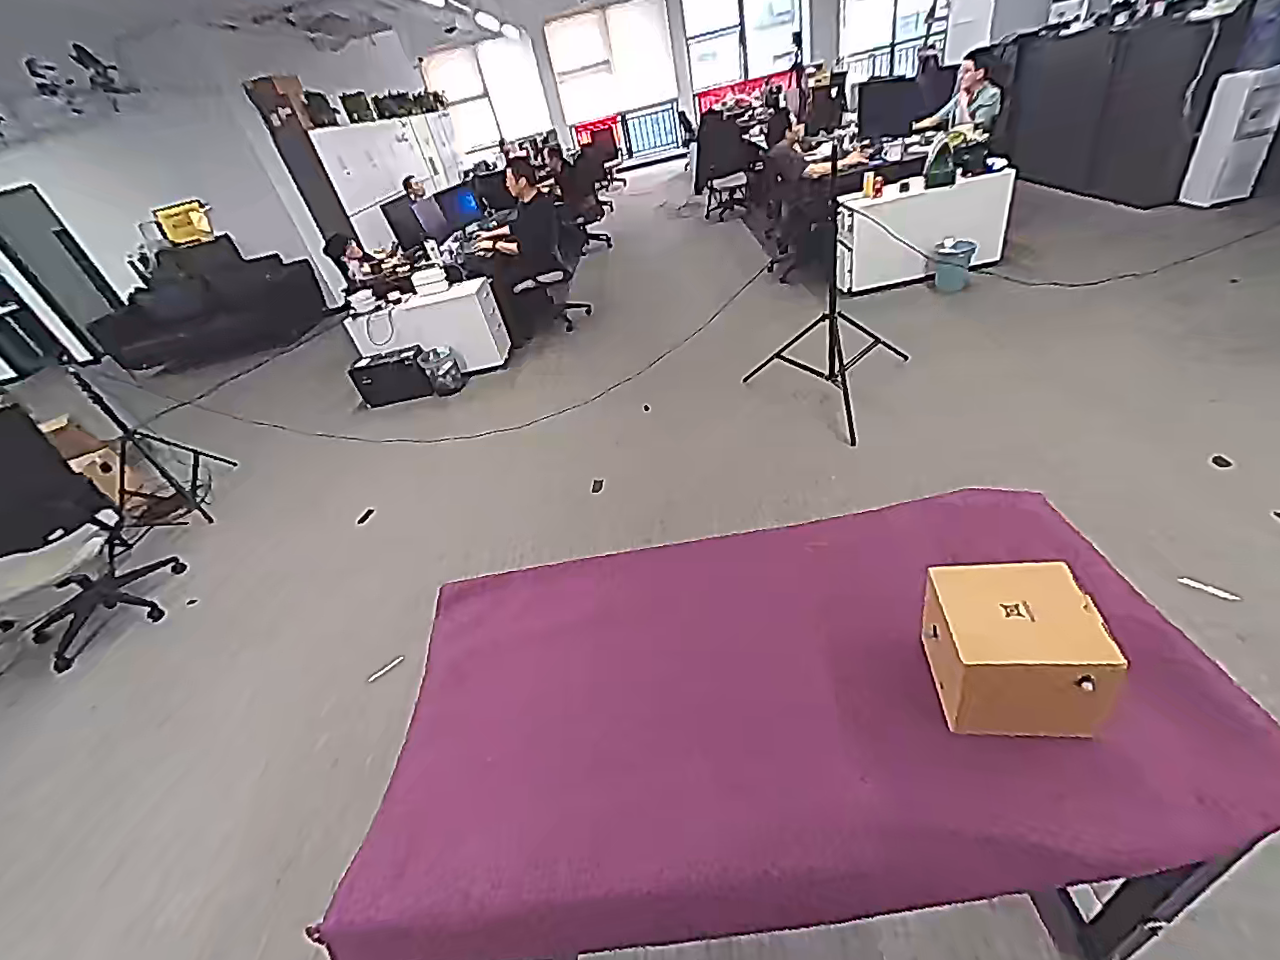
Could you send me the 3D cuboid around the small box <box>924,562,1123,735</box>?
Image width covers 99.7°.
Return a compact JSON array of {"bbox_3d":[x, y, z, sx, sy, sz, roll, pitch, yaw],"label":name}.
[{"bbox_3d":[0.509,0.235,0.754,0.179,0.176,0.168,-5,36,14],"label":"small box"}]
